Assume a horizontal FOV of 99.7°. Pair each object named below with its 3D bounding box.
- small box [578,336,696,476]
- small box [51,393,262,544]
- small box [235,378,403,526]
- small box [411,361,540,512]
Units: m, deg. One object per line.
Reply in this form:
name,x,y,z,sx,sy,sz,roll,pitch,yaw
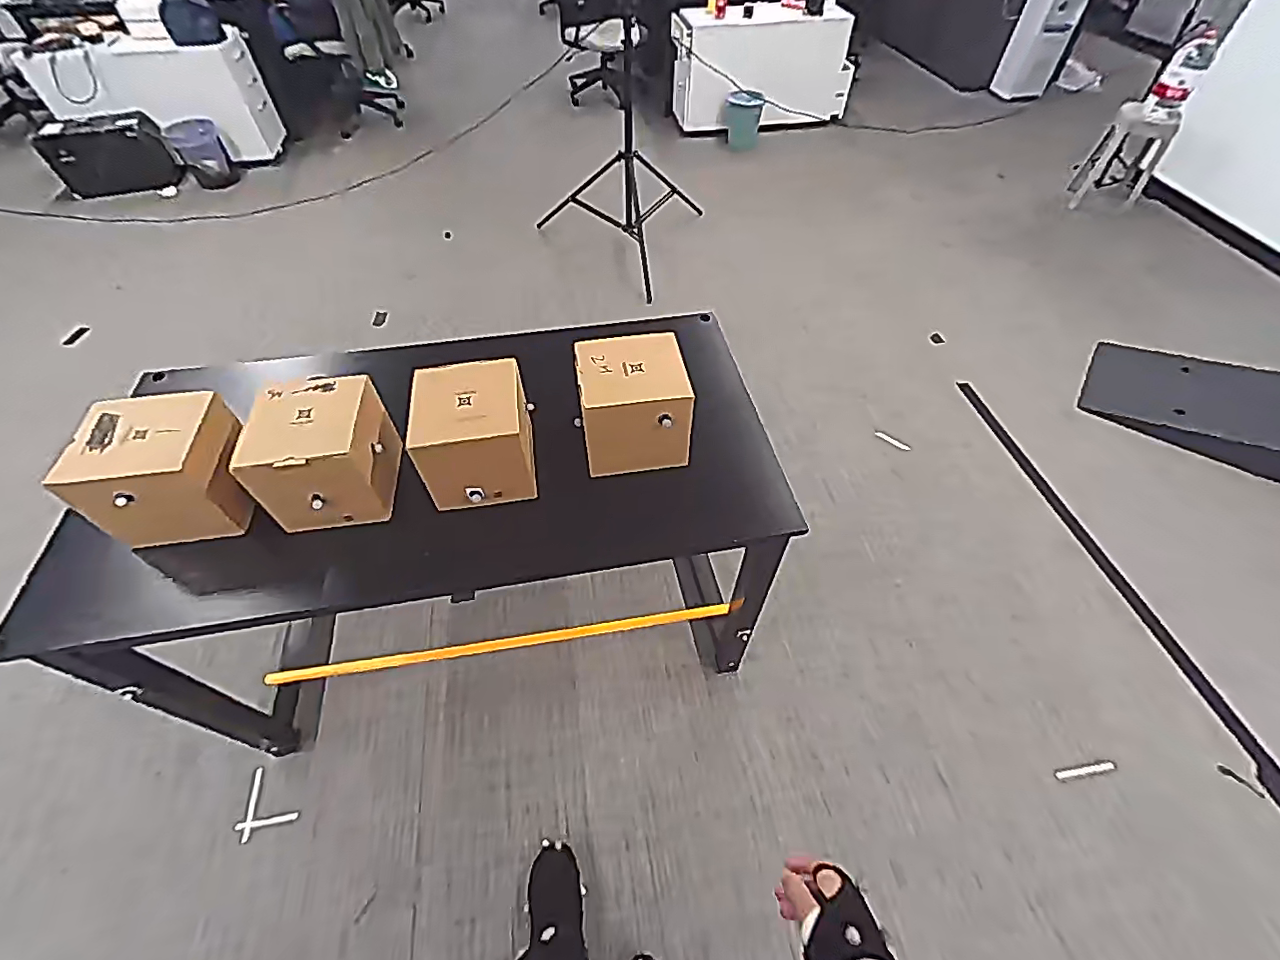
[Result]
small box,-0.010,-0.126,0.943,0.179,0.176,0.168,-7,52,-5
small box,-0.731,-0.014,0.855,0.179,0.176,0.168,-7,53,-7
small box,-0.501,-0.039,0.877,0.168,0.176,0.179,-7,53,-6
small box,-0.266,-0.071,0.904,0.168,0.176,0.179,-9,53,-6
